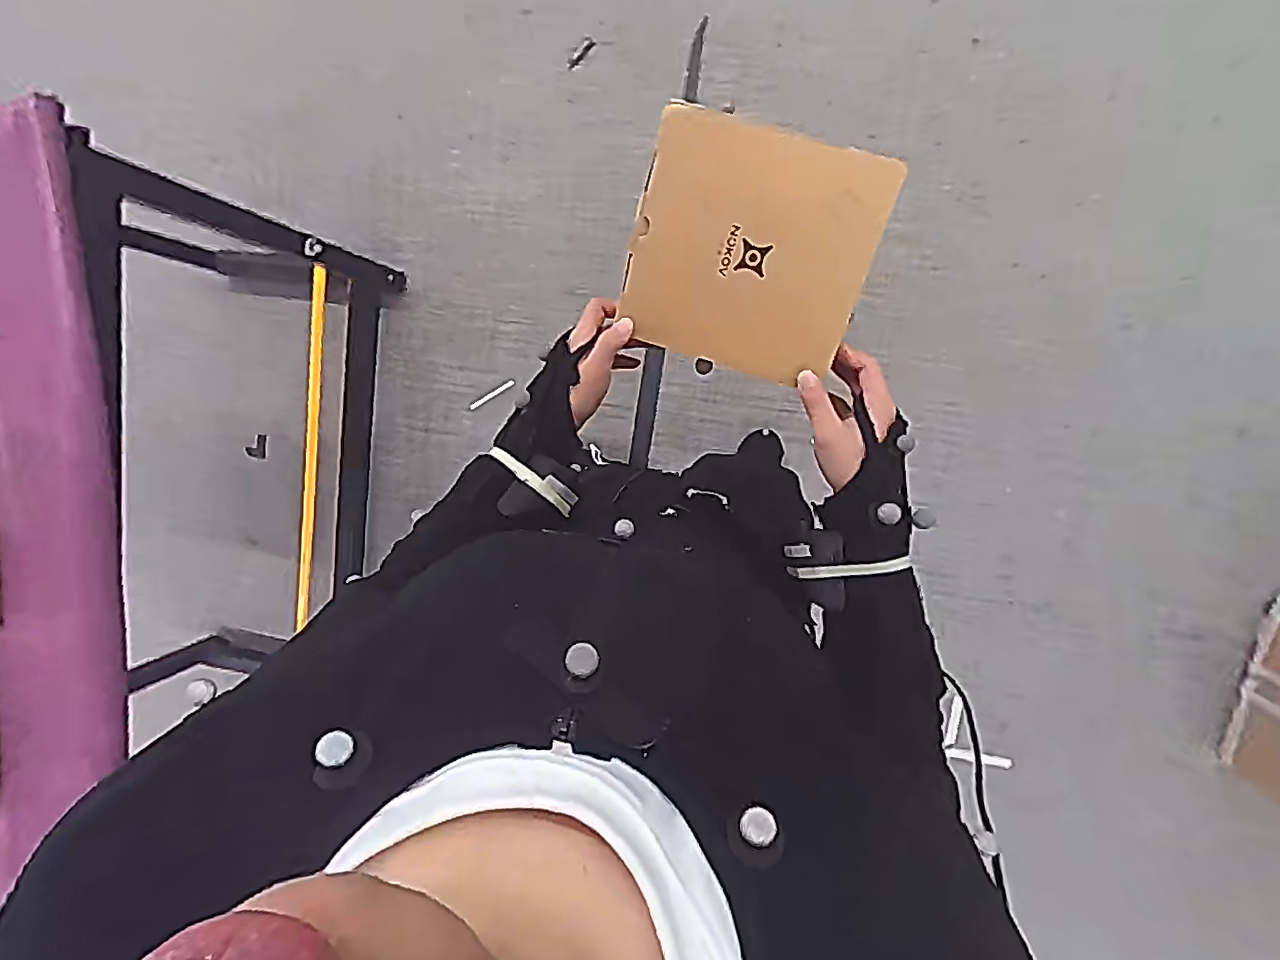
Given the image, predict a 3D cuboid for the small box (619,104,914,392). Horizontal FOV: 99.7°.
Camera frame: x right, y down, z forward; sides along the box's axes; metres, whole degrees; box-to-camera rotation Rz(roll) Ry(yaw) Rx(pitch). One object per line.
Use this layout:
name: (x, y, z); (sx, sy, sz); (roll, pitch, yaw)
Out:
small box: (0.100, -0.193, 0.477); (0.179, 0.176, 0.168); (18, 112, 5)
